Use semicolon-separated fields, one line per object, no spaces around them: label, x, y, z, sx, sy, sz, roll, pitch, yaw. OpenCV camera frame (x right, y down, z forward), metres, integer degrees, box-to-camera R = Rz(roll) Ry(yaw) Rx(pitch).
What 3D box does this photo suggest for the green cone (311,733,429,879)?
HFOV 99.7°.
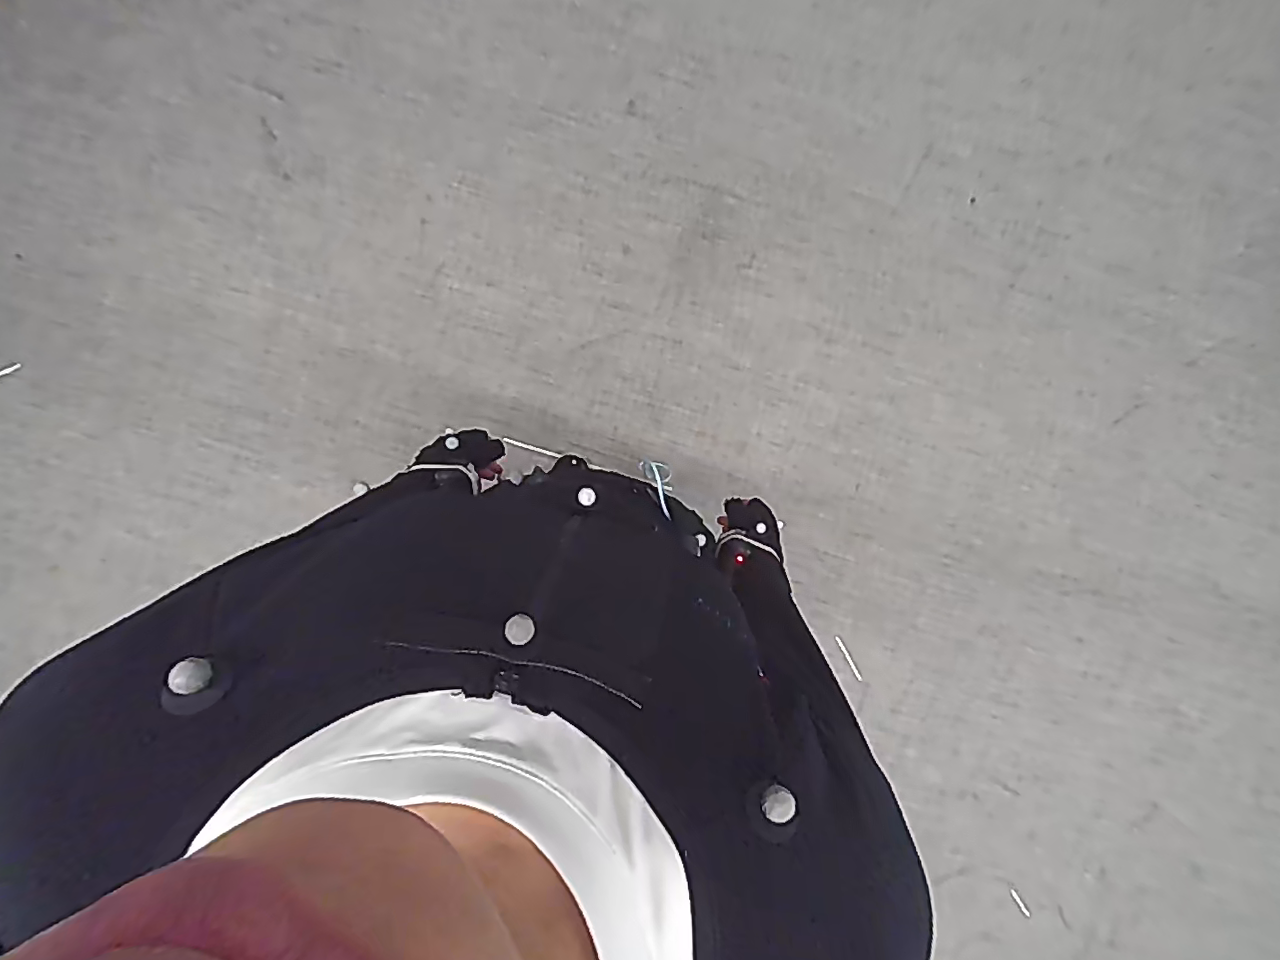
green cone;-0.691;0.820;1.321;0.202;0.368;0.200;15;92;-4
